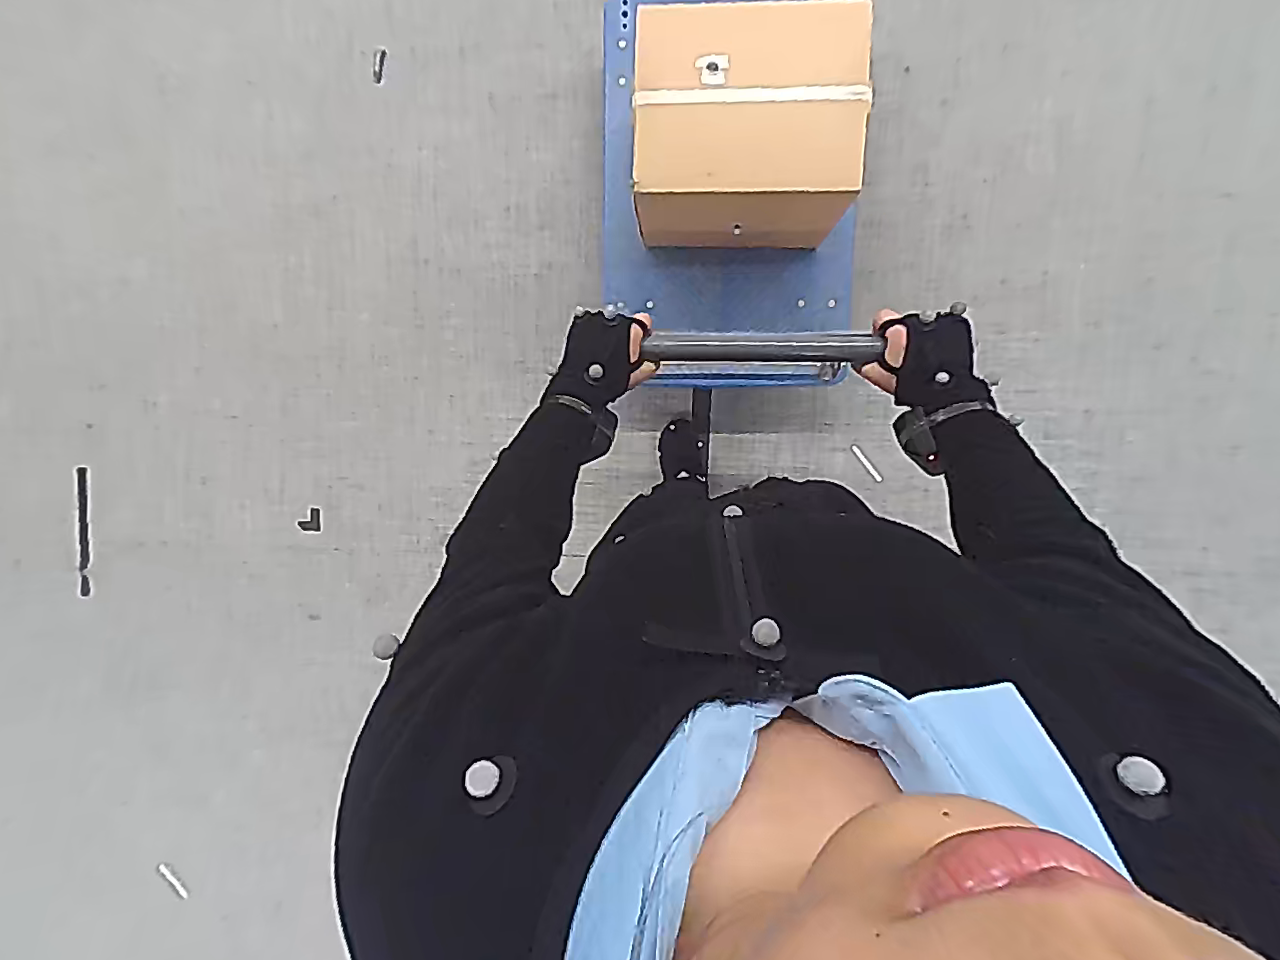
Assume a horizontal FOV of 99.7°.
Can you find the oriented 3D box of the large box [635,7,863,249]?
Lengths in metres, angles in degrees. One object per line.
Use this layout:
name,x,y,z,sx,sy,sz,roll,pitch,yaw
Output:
large box,0.206,-0.683,1.114,0.408,0.320,0.320,2,95,5
